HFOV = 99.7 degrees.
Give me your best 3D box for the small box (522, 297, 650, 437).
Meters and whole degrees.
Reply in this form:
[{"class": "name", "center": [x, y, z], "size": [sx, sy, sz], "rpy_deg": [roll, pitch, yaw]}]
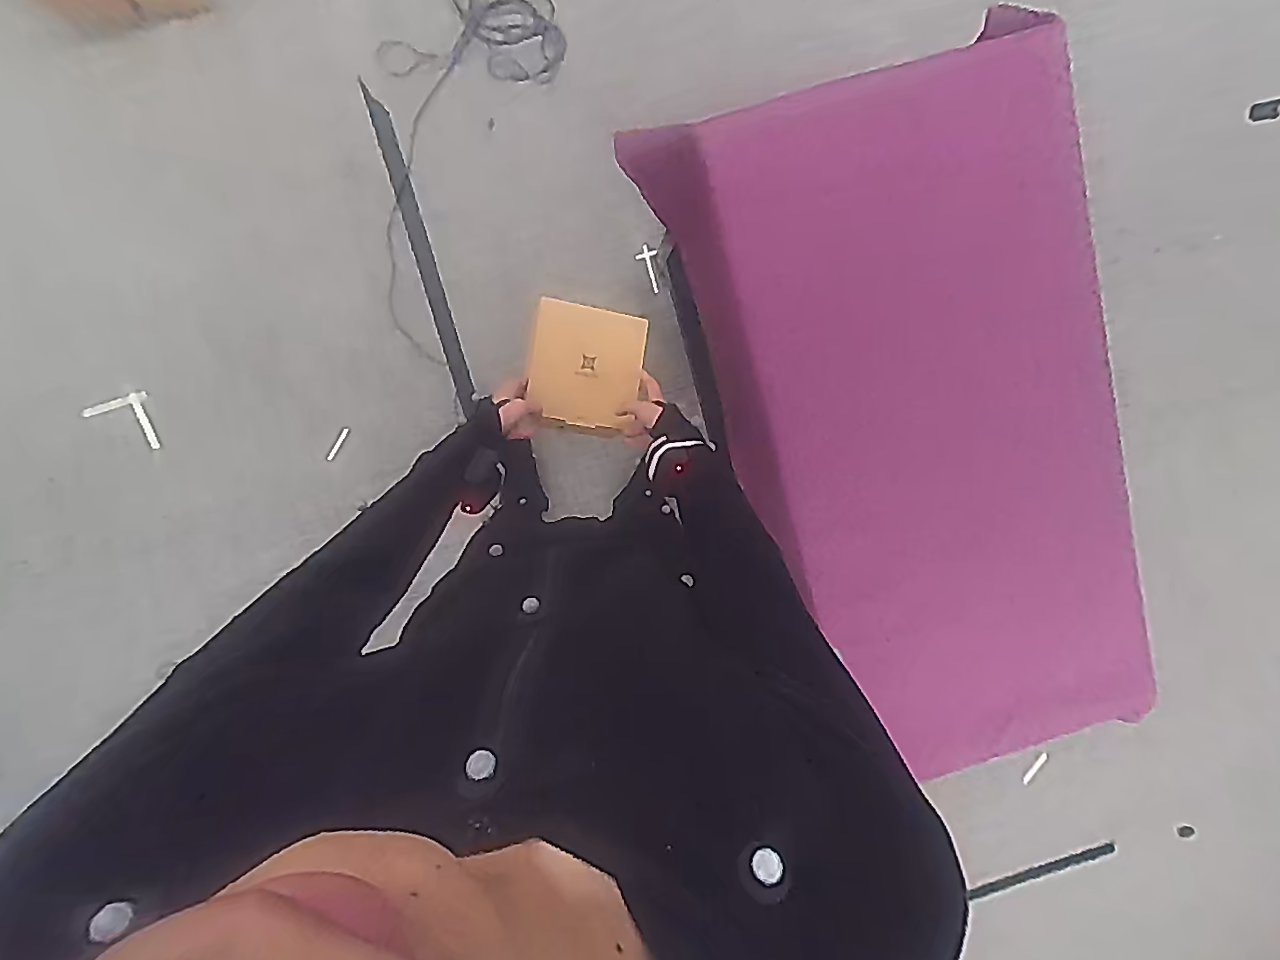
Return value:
[{"class": "small box", "center": [-0.095, -0.169, 0.872], "size": [0.168, 0.176, 0.179], "rpy_deg": [7, 90, -16]}]
